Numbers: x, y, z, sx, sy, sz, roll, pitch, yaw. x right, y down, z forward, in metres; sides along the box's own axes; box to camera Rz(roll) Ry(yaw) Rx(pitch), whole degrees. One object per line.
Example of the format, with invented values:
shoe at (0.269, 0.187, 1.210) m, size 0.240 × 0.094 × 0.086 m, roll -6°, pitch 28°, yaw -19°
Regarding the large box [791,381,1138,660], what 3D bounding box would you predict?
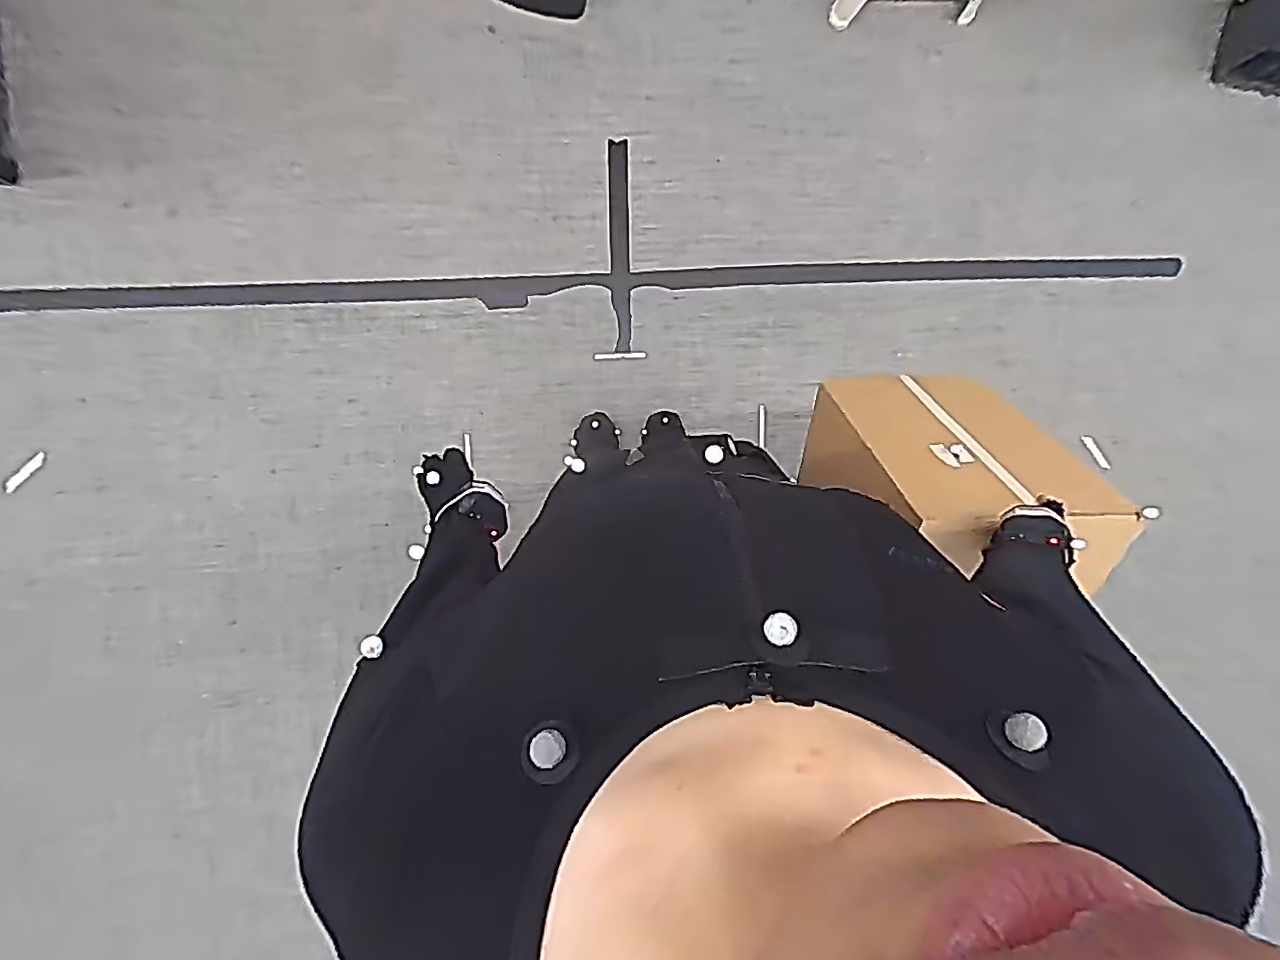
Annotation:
large box at (0.501, 0.056, 0.962) m, size 0.320 × 0.408 × 0.320 m, roll -1°, pitch 128°, yaw -4°
